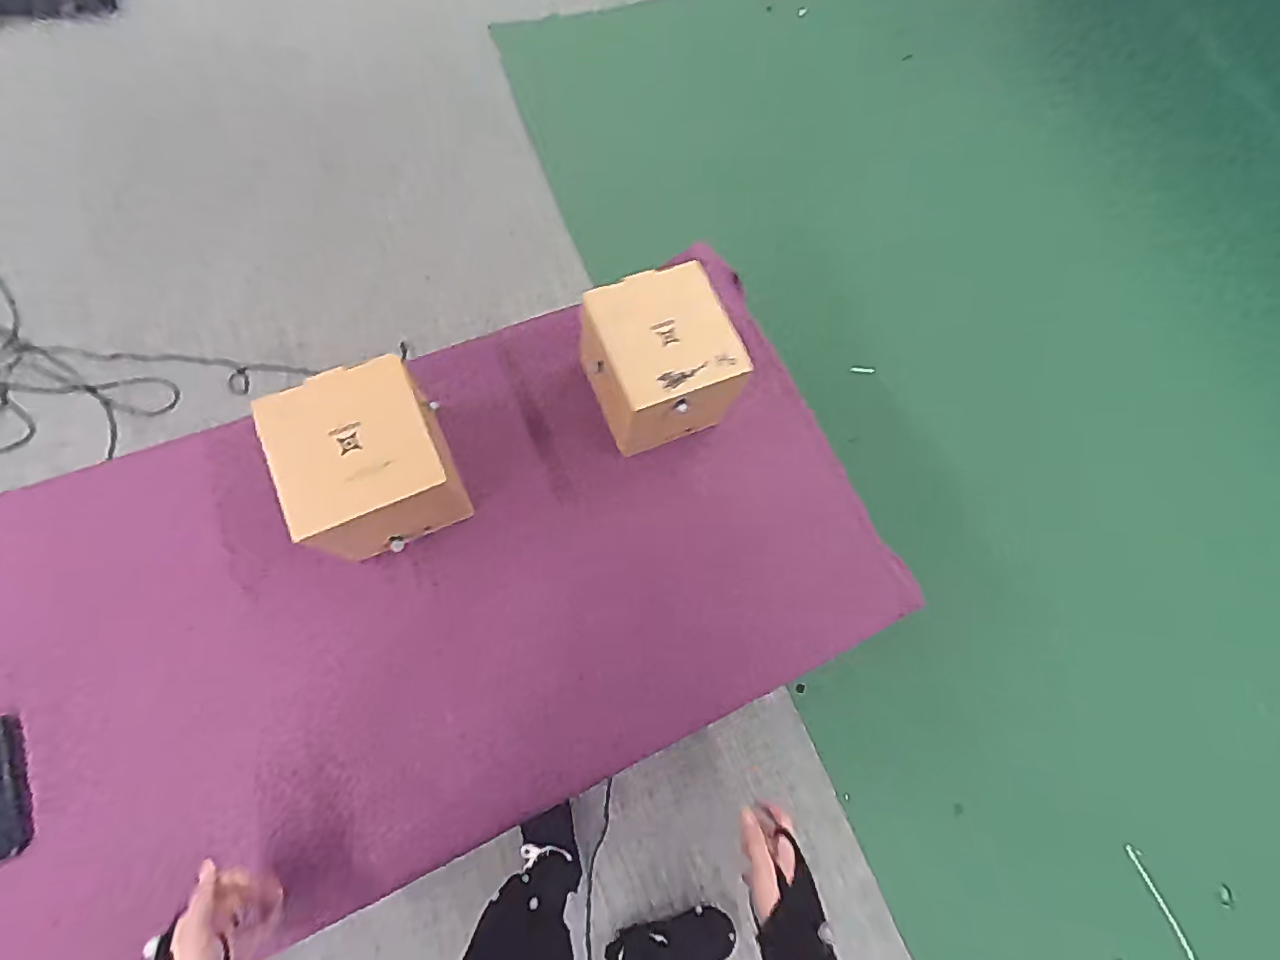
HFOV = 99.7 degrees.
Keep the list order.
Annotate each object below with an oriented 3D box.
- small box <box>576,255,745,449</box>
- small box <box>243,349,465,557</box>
[{"bbox_3d":[0.016,-0.169,0.748,0.168,0.176,0.179,-21,76,-11],"label":"small box"},{"bbox_3d":[-0.335,-0.024,0.664,0.168,0.176,0.179,-23,77,-12],"label":"small box"}]
